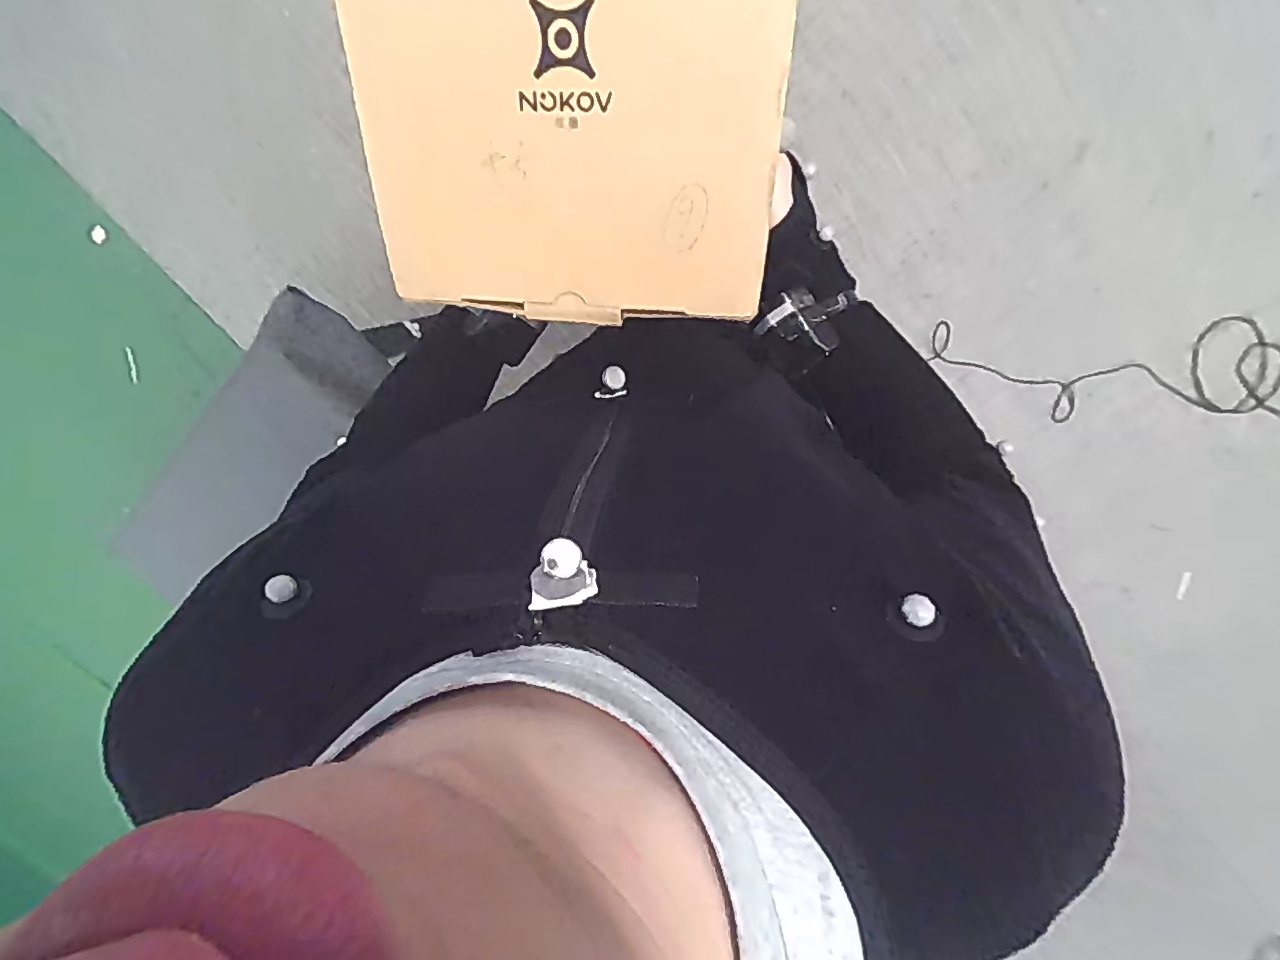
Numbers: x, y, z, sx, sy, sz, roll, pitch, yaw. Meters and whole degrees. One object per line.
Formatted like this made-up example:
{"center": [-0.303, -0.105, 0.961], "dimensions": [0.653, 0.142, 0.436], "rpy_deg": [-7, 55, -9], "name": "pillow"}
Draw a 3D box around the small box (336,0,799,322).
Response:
{"center": [-0.017, -0.192, 0.263], "dimensions": [0.168, 0.176, 0.179], "rpy_deg": [5, 122, 5], "name": "small box"}
